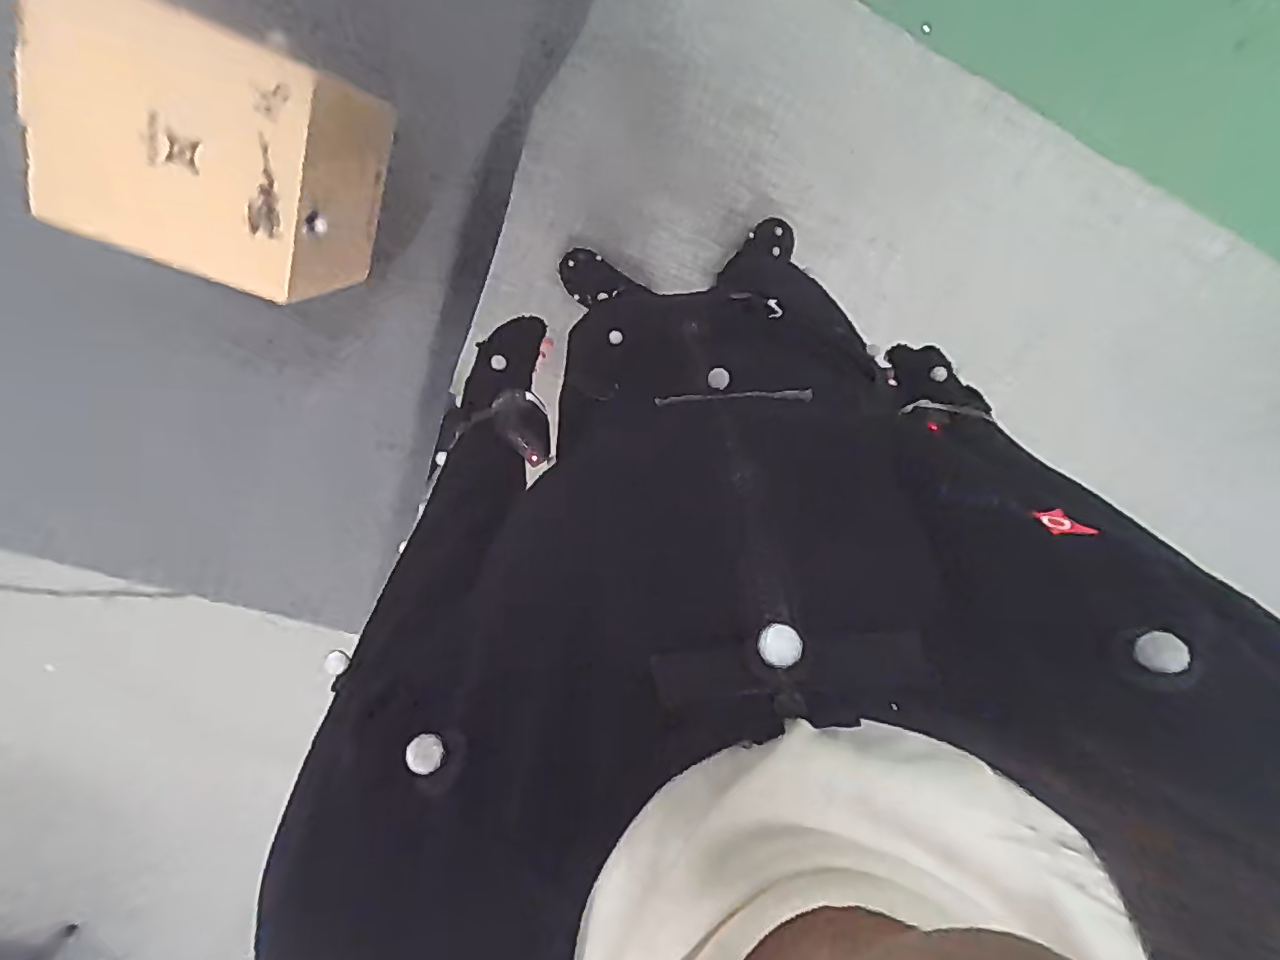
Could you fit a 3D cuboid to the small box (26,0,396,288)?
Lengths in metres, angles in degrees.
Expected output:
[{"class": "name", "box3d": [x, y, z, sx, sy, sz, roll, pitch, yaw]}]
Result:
[{"class": "small box", "box3d": [-0.335, -0.280, 0.453, 0.179, 0.176, 0.168, 19, 114, -12]}]
